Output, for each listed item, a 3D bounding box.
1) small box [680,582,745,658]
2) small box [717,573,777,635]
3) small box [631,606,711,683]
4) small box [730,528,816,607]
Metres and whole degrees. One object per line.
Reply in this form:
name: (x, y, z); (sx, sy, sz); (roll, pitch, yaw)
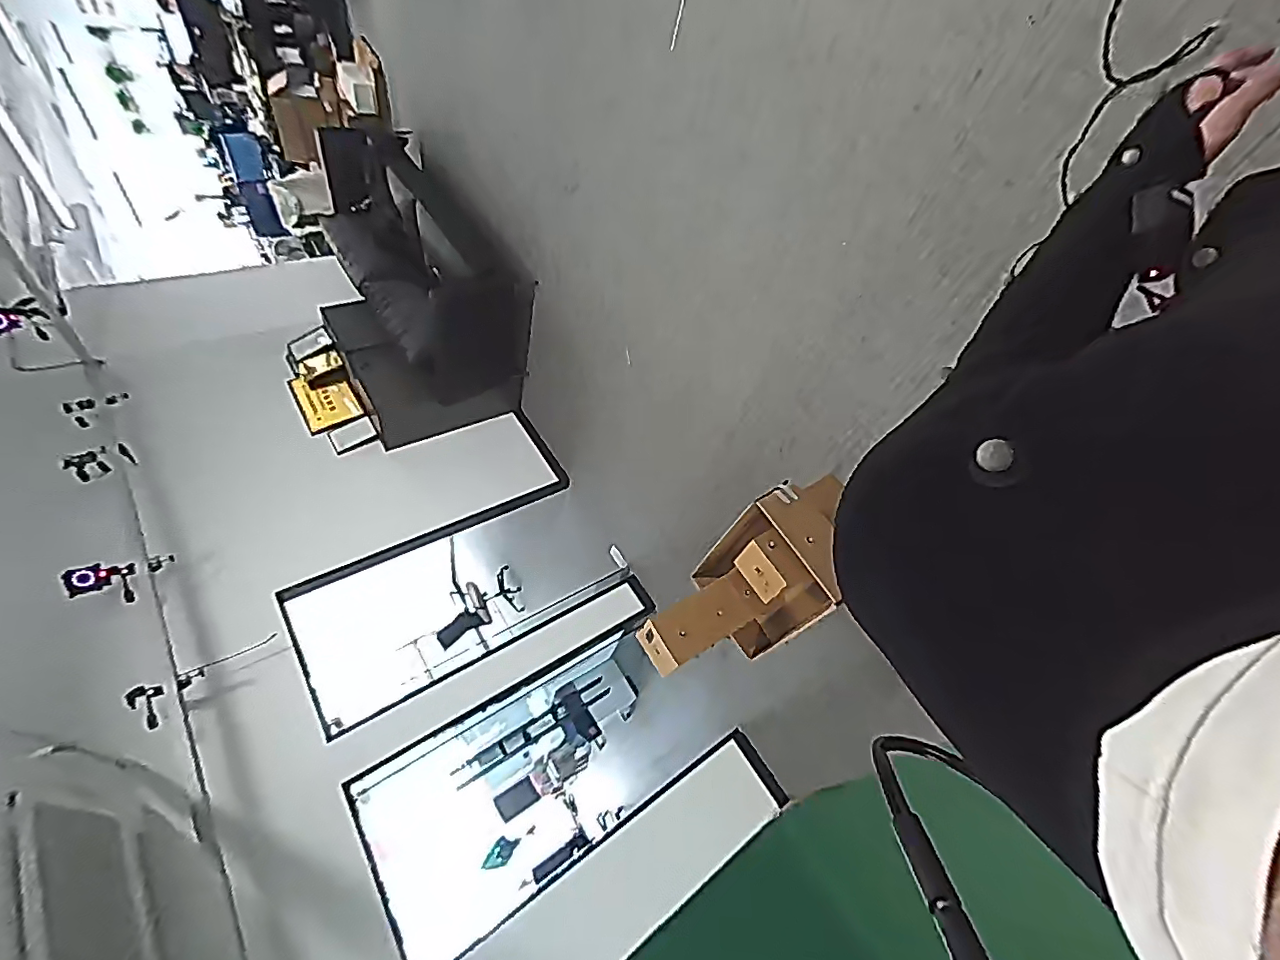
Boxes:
small box: (0.235, 0.488, 1.892); (0.179, 0.176, 0.168); (55, 146, 18)
small box: (0.366, 0.432, 1.972); (0.179, 0.176, 0.168); (57, 147, 18)
small box: (0.104, 0.542, 1.807); (0.179, 0.176, 0.168); (54, 147, 19)
small box: (0.431, 0.276, 1.757); (0.179, 0.176, 0.168); (54, 148, 21)
